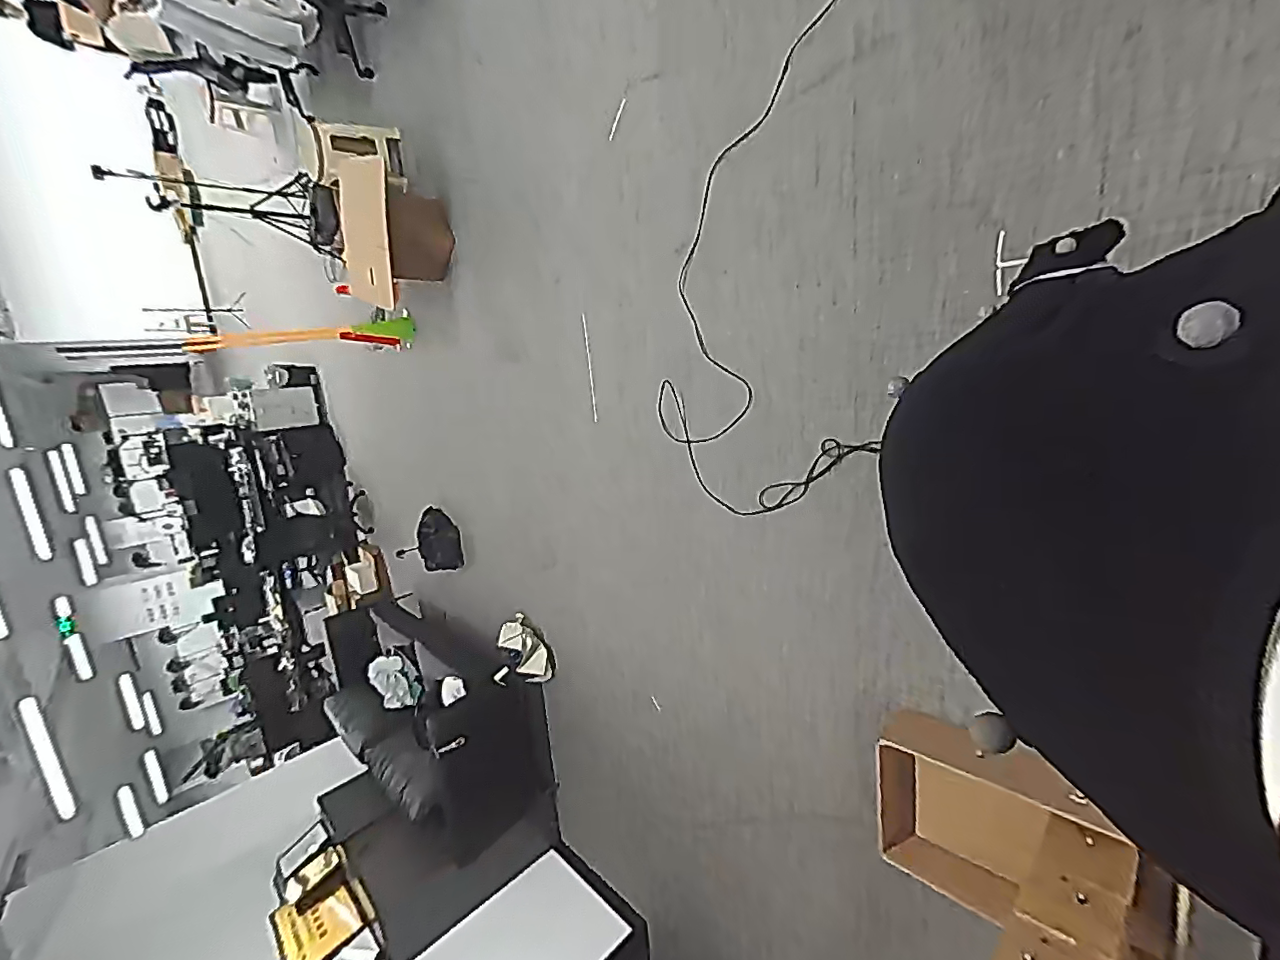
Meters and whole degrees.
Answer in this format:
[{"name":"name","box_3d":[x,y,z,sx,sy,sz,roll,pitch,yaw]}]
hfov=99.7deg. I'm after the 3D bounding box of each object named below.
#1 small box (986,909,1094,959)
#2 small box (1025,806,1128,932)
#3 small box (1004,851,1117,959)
[{"name":"small box","box_3d":[0.777,0.999,1.046,0.168,0.176,0.179,4,107,48]},{"name":"small box","box_3d":[1.011,0.917,1.257,0.168,0.176,0.179,8,109,46]},{"name":"small box","box_3d":[0.893,0.956,1.152,0.168,0.176,0.179,6,108,47]}]
